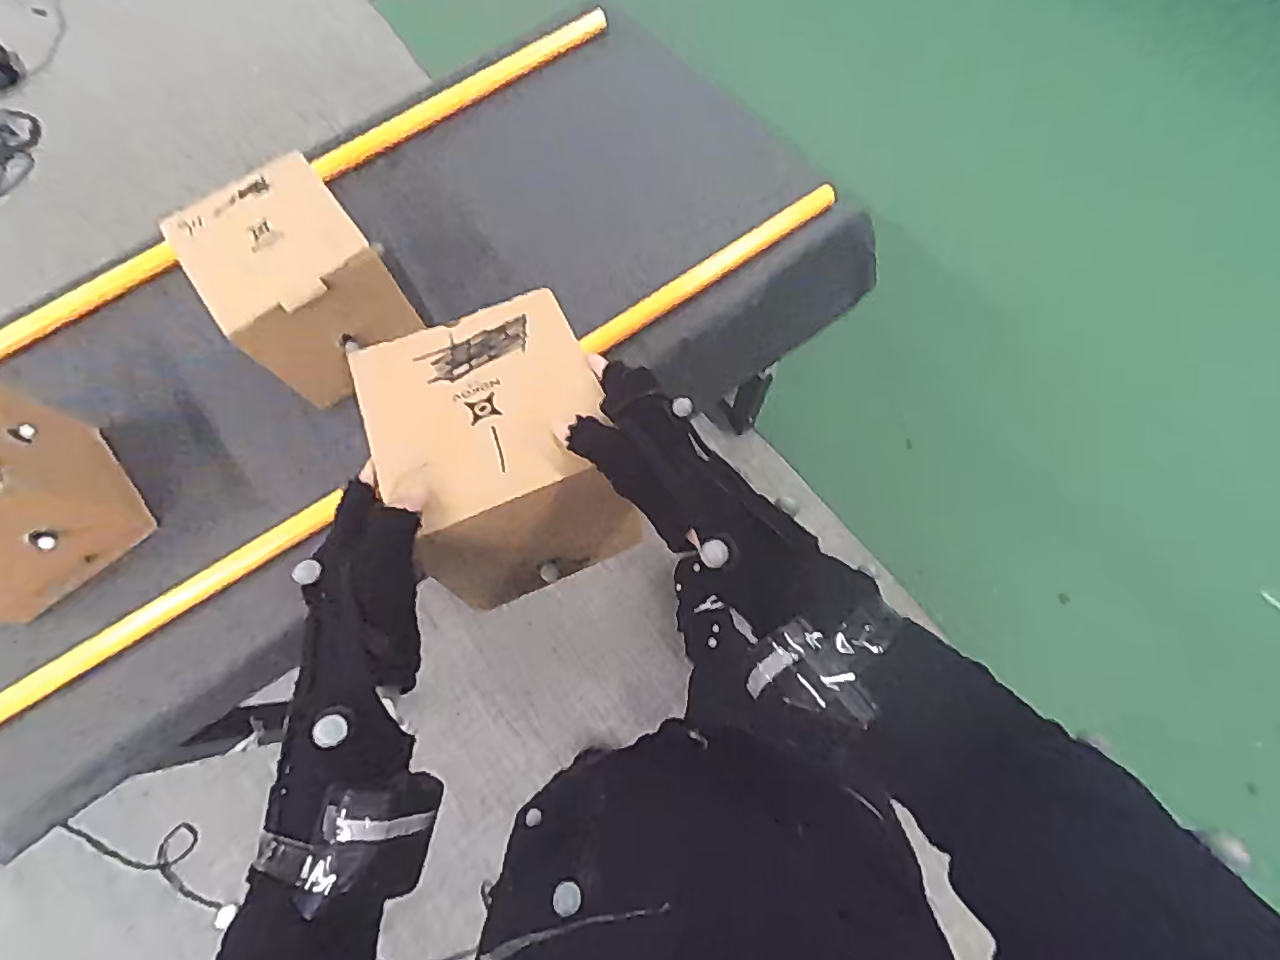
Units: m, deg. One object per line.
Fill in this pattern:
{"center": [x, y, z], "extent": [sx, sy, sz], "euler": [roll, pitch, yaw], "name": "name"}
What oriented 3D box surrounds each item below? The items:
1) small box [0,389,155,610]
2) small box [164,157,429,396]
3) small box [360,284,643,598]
{"center": [-0.675, 0.019, 0.564], "extent": [0.168, 0.176, 0.179], "euler": [-41, 73, -13], "name": "small box"}
{"center": [-0.384, -0.222, 0.638], "extent": [0.168, 0.176, 0.179], "euler": [-39, 74, -9], "name": "small box"}
{"center": [-0.106, -0.025, 0.462], "extent": [0.168, 0.176, 0.179], "euler": [-23, 63, -8], "name": "small box"}
